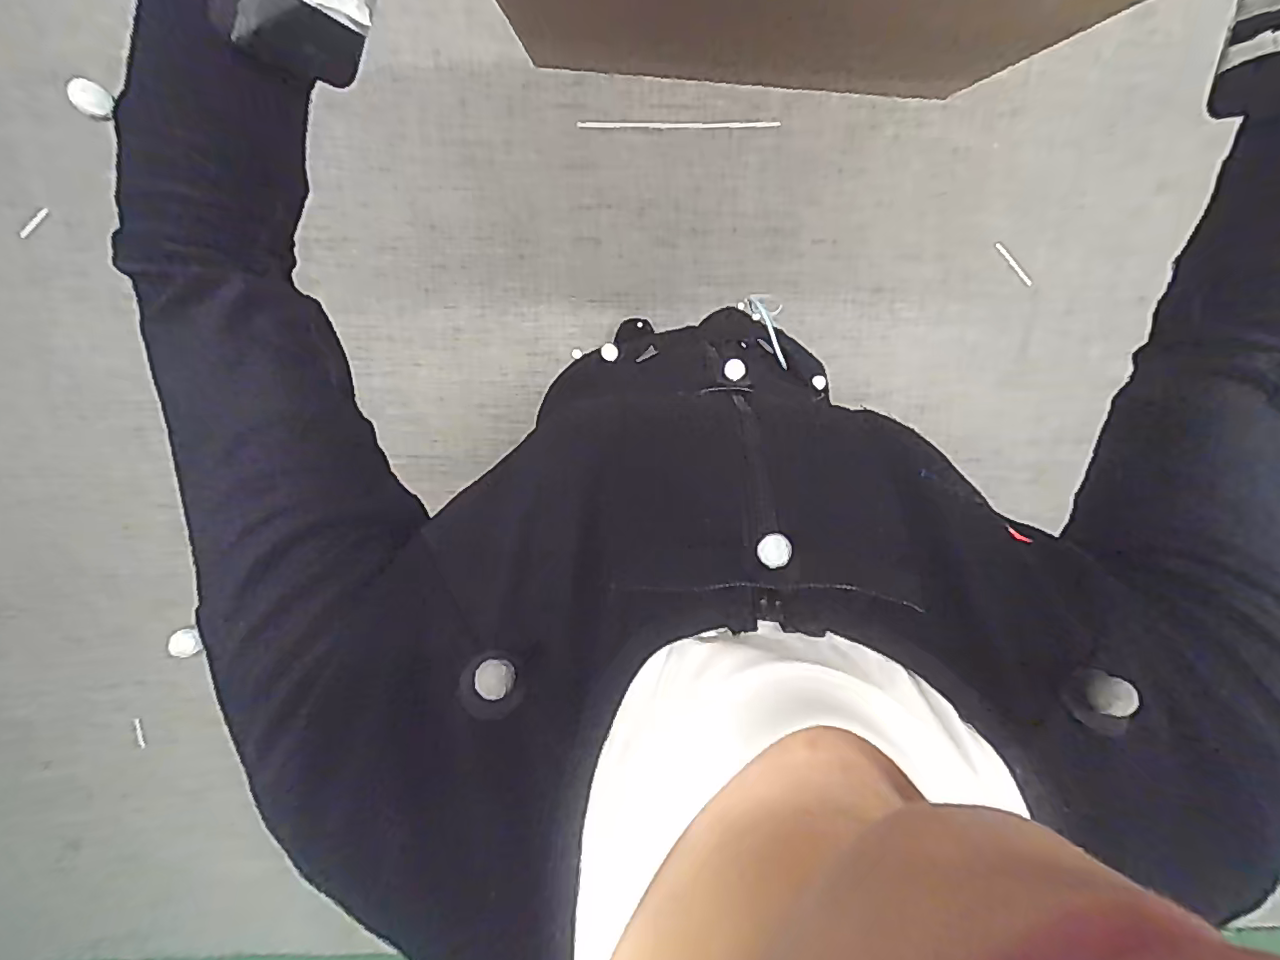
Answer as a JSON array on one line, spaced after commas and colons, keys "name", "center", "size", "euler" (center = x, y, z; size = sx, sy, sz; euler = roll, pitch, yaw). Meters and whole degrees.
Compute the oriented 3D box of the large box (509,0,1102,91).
[{"name": "large box", "center": [0.107, -0.470, 0.332], "size": [0.408, 0.320, 0.320], "euler": [2, 113, -2]}]
